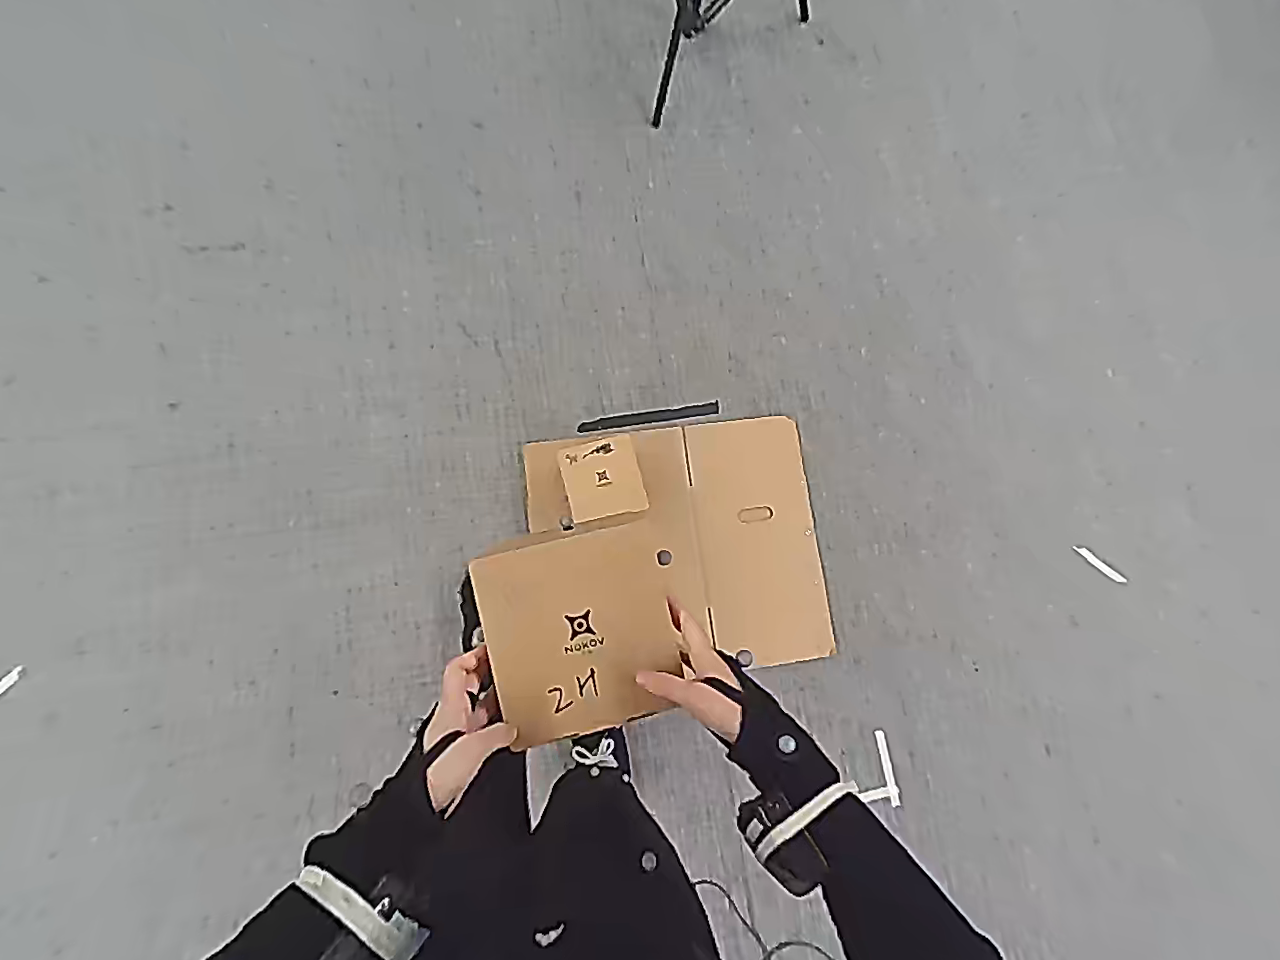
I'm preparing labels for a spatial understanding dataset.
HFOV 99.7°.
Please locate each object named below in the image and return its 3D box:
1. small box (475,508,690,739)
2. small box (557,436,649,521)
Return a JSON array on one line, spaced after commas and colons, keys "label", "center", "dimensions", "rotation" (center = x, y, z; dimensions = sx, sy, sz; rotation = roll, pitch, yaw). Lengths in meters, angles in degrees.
[{"label": "small box", "center": [-0.060, 0.131, 0.565], "dimensions": [0.168, 0.176, 0.179], "rotation": [-13, 89, -6]}, {"label": "small box", "center": [-0.086, 0.015, 1.230], "dimensions": [0.168, 0.176, 0.179], "rotation": [-15, 84, -7]}]
